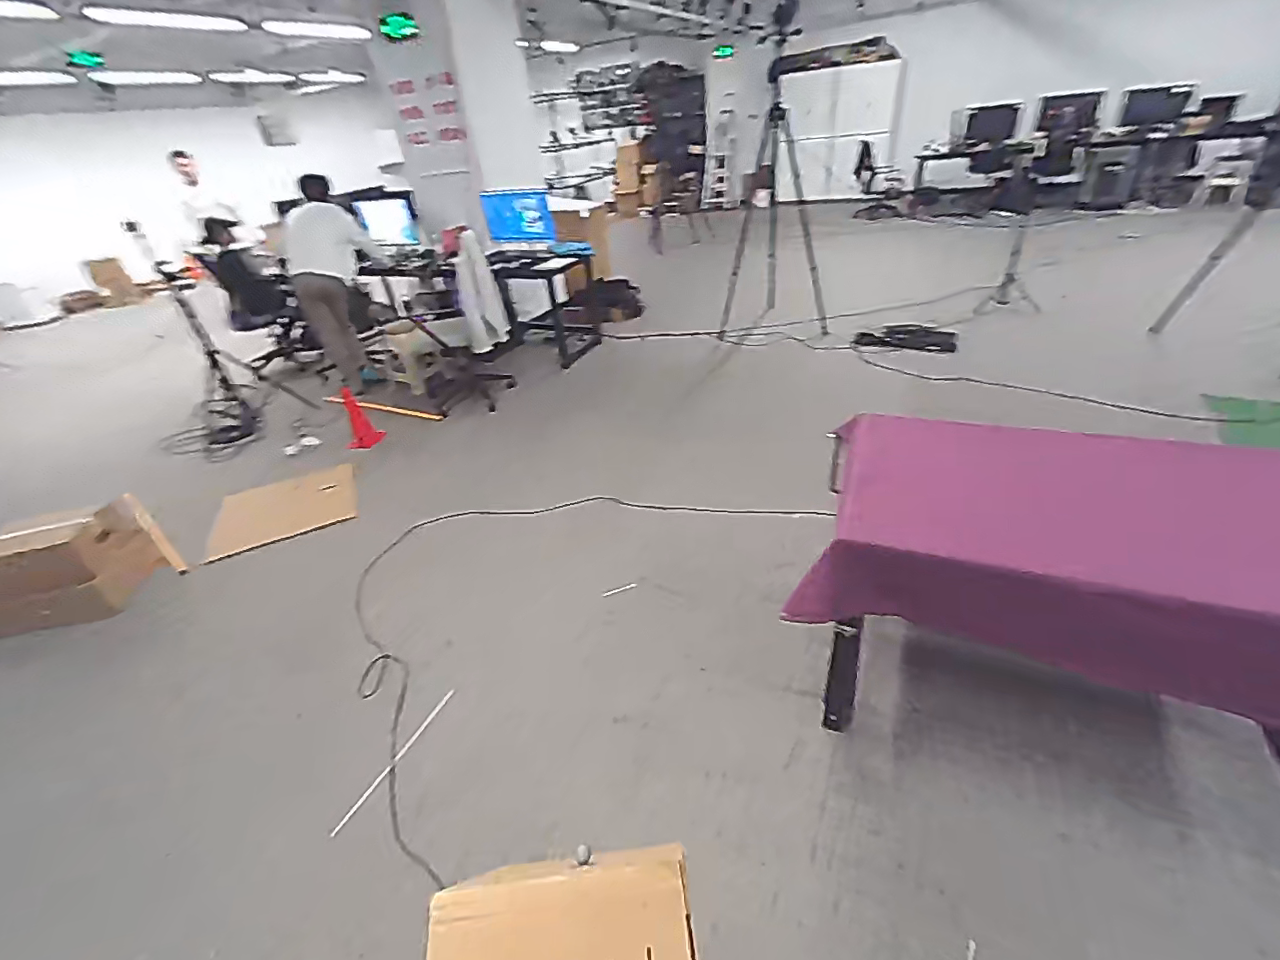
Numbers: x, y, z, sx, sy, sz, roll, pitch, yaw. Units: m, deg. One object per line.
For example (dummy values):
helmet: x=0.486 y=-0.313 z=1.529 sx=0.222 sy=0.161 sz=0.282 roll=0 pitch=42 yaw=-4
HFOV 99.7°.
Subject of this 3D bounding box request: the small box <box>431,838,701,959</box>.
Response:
small box: x=-0.040 y=0.375 z=0.399 sx=0.179 sy=0.176 sz=0.168 roll=-8 pitch=59 yaw=1
